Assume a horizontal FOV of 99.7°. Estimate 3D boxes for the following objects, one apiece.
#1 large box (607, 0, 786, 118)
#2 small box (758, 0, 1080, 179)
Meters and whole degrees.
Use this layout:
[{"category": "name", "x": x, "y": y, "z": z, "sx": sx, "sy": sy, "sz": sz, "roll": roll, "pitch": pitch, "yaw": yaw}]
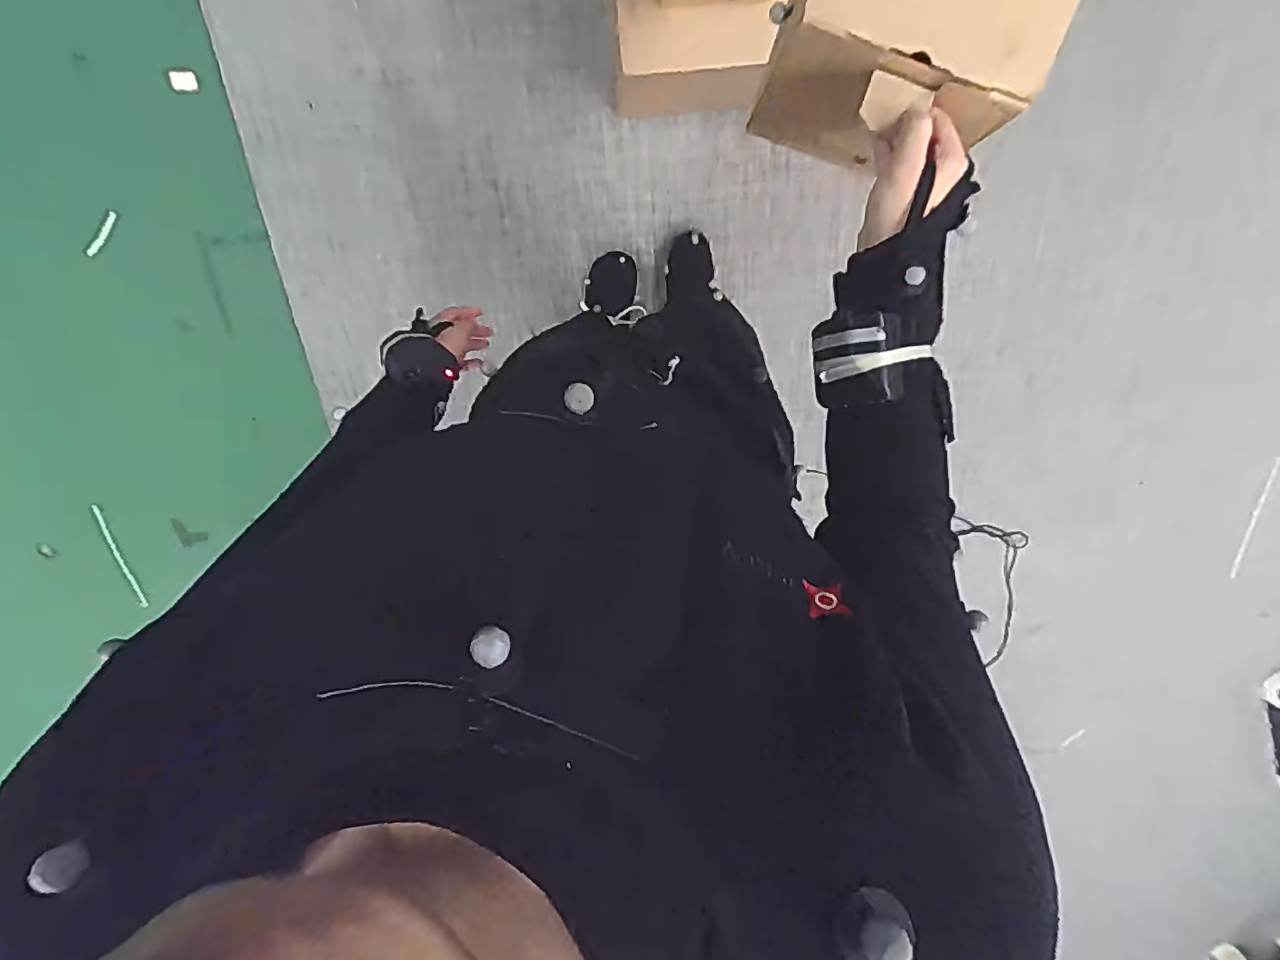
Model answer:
[{"category": "large box", "x": 0.150, "y": -0.835, "z": 0.904, "sx": 0.408, "sy": 0.320, "sz": 0.320, "roll": -6, "pitch": 115, "yaw": -2}, {"category": "small box", "x": 0.201, "y": -0.359, "z": 0.403, "sx": 0.168, "sy": 0.176, "sz": 0.179, "roll": 17, "pitch": 100, "yaw": -5}]
